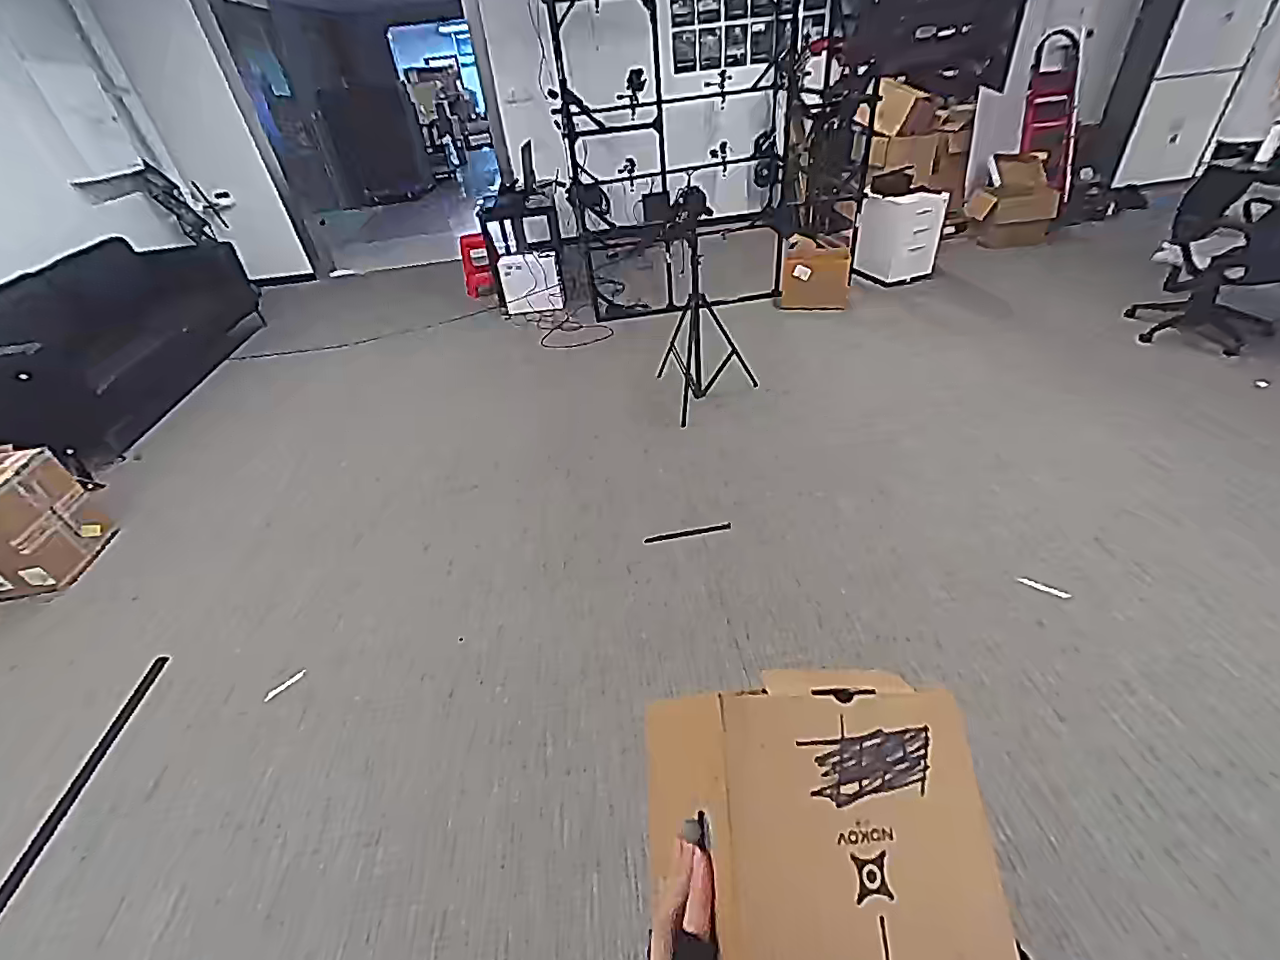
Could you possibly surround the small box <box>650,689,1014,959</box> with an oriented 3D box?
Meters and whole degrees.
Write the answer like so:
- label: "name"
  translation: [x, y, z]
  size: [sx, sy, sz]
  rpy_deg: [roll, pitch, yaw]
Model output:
- label: "small box"
  translation: [0.106, 0.244, 0.373]
  size: [0.168, 0.176, 0.179]
  rpy_deg: [5, 65, -13]
